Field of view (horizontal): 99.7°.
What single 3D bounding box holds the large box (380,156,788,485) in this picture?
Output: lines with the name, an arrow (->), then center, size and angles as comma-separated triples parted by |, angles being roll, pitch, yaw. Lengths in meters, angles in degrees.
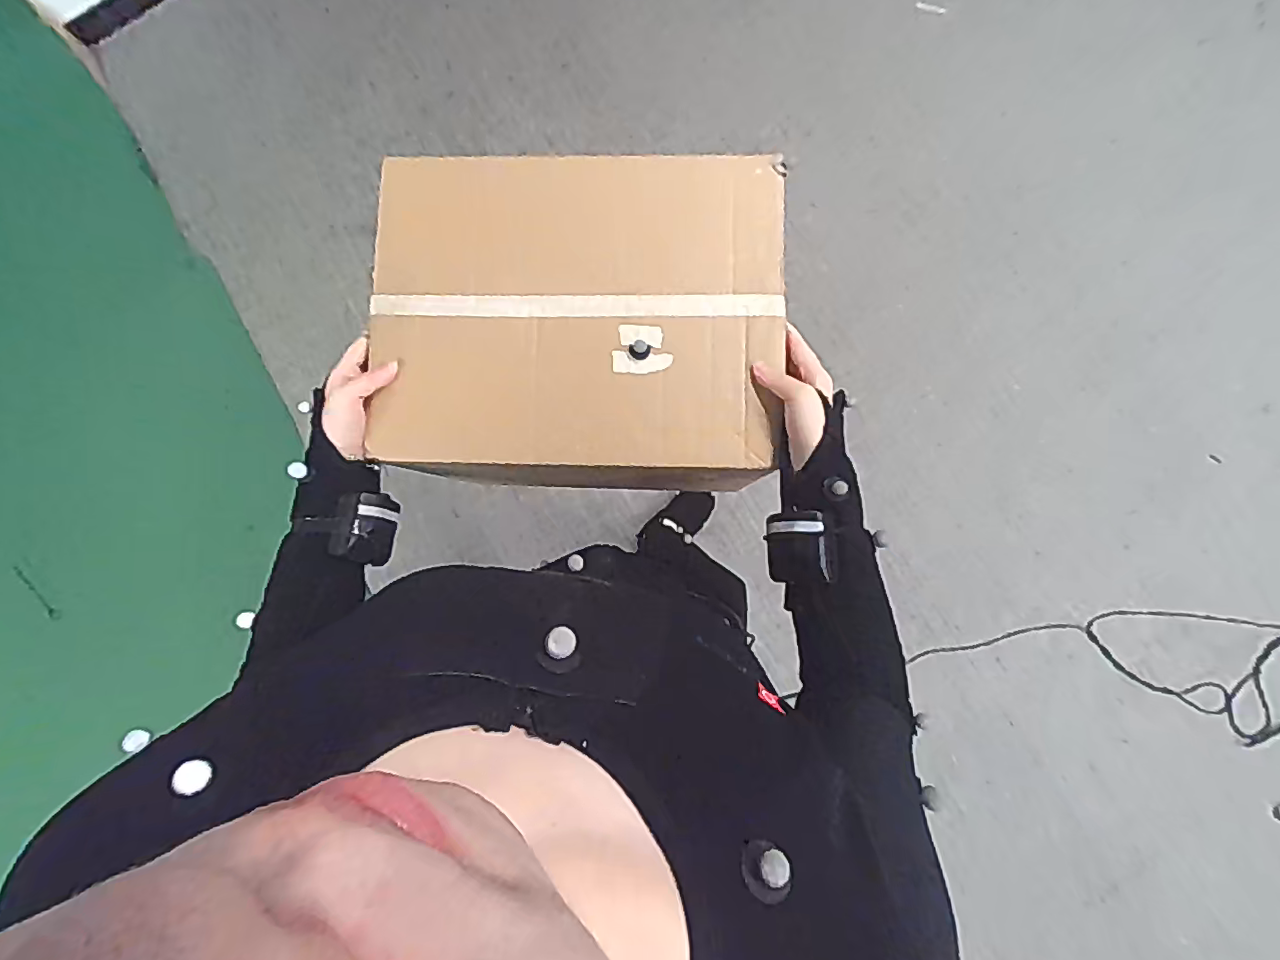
large box -> -0.053, -0.162, 0.684 | 0.408, 0.320, 0.320 | 2, 85, 1
